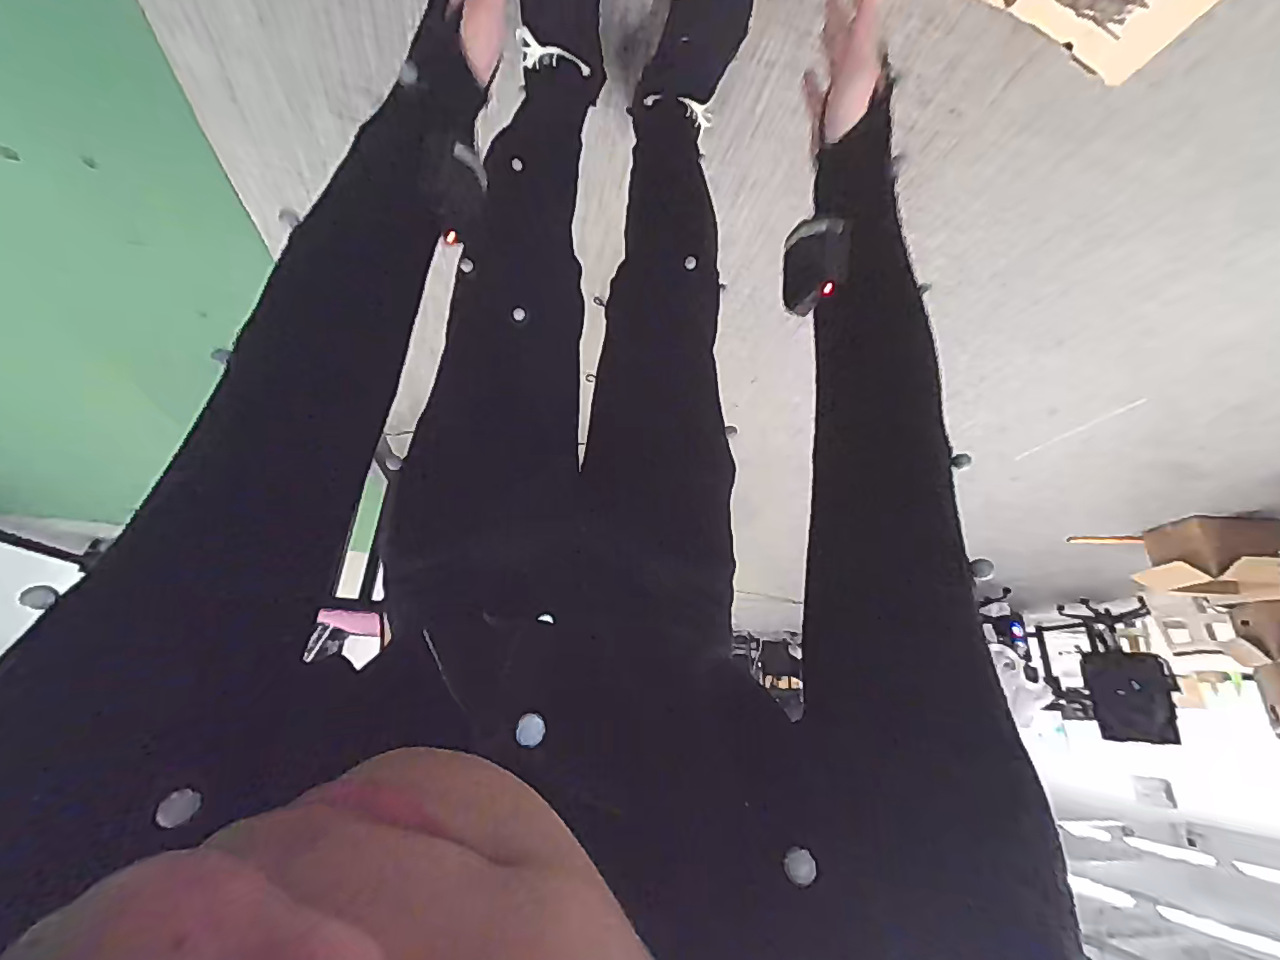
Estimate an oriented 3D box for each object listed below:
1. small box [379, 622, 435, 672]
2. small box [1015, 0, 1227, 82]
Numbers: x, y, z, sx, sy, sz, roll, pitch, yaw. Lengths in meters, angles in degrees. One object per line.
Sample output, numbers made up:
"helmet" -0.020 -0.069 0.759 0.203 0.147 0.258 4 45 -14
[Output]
"small box" -0.900 0.653 2.102 0.168 0.176 0.179 7 159 -14
"small box" 0.452 -0.520 0.477 0.168 0.176 0.179 12 155 -21
